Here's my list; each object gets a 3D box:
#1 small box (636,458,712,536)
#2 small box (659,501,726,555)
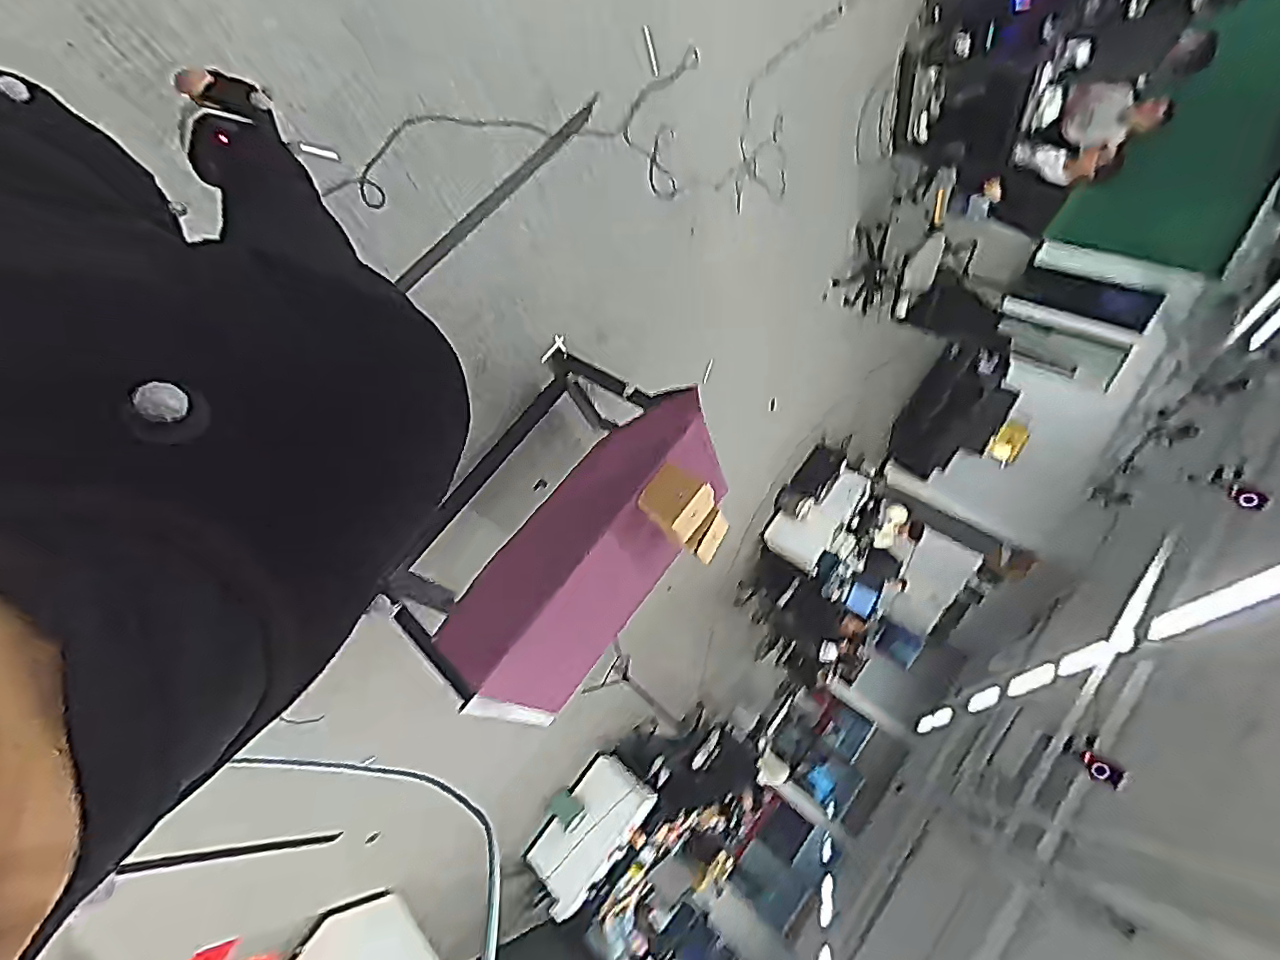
[{"bbox_3d":[0.116,0.055,1.834,0.179,0.176,0.168,-52,149,-10],"label":"small box"},{"bbox_3d":[0.198,0.149,2.041,0.179,0.176,0.168,-53,149,-8],"label":"small box"}]
